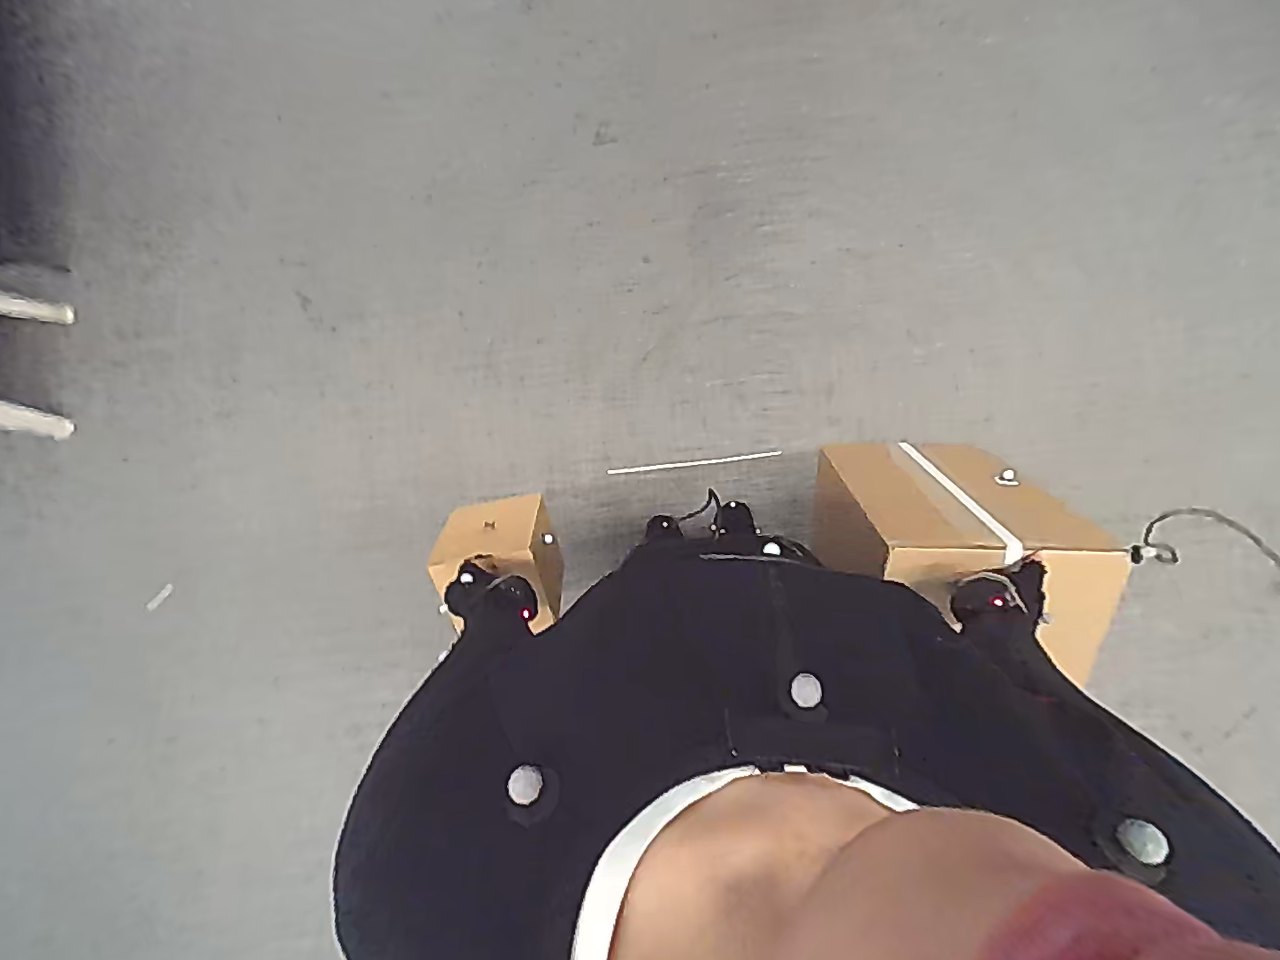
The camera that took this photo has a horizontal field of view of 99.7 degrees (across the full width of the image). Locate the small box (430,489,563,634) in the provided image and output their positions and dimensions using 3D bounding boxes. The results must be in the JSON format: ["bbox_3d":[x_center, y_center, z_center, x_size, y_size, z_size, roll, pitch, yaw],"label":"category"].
[{"bbox_3d":[-0.236,0.139,0.944,0.168,0.179,0.176,-10,119,3],"label":"small box"}]
